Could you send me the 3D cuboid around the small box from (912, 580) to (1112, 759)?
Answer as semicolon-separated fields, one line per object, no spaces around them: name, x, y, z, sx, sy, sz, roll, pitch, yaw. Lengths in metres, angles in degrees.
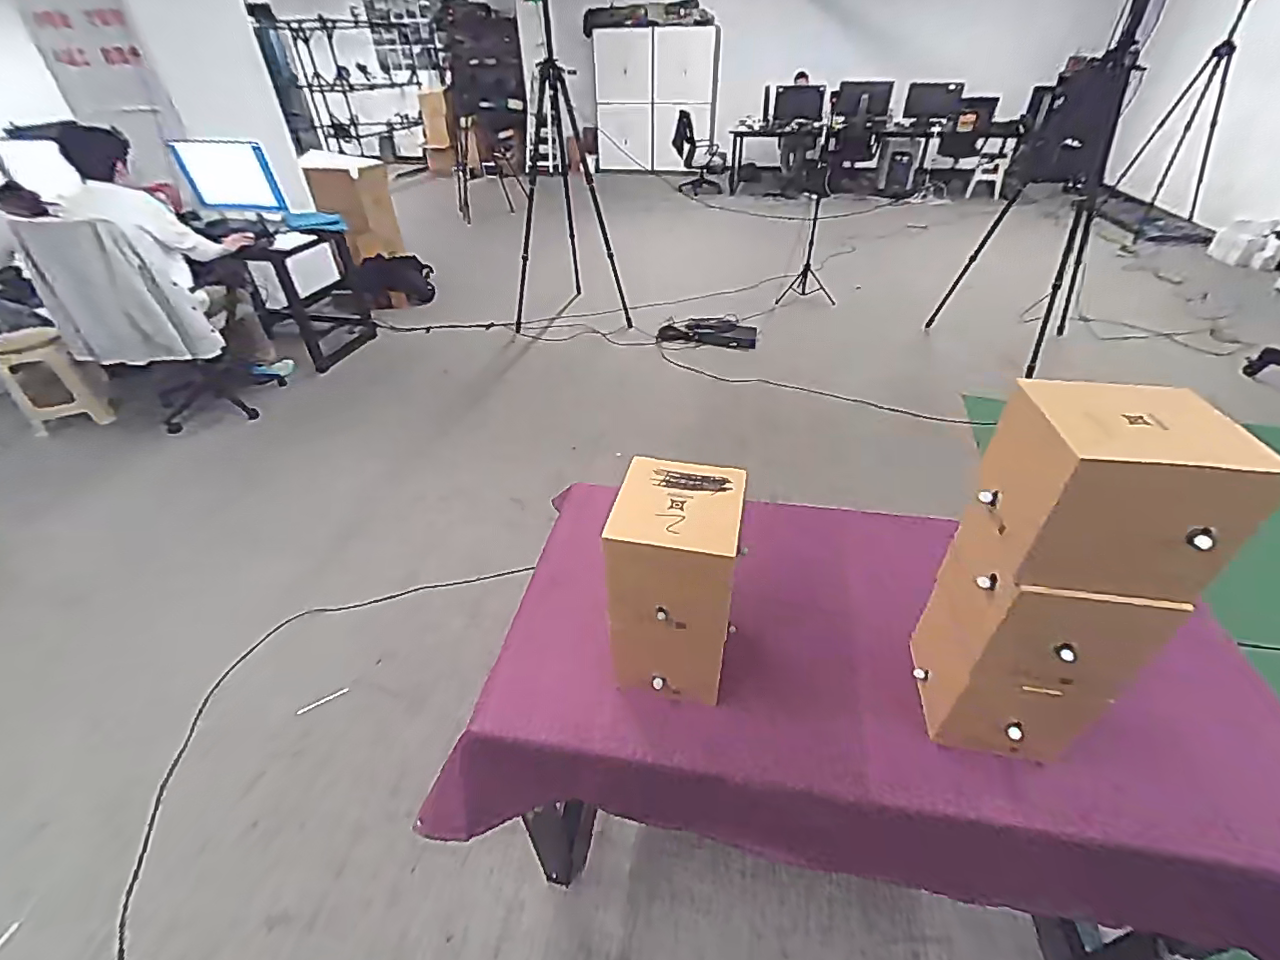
small box;0.515;0.272;0.782;0.168;0.176;0.179;7;39;10

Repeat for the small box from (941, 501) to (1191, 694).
small box;0.508;0.142;0.681;0.168;0.176;0.179;6;38;9

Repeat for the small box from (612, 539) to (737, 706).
small box;0.057;0.224;0.859;0.168;0.176;0.179;7;40;11

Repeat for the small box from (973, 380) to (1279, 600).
small box;0.501;0.009;0.585;0.179;0.176;0.168;5;37;10
